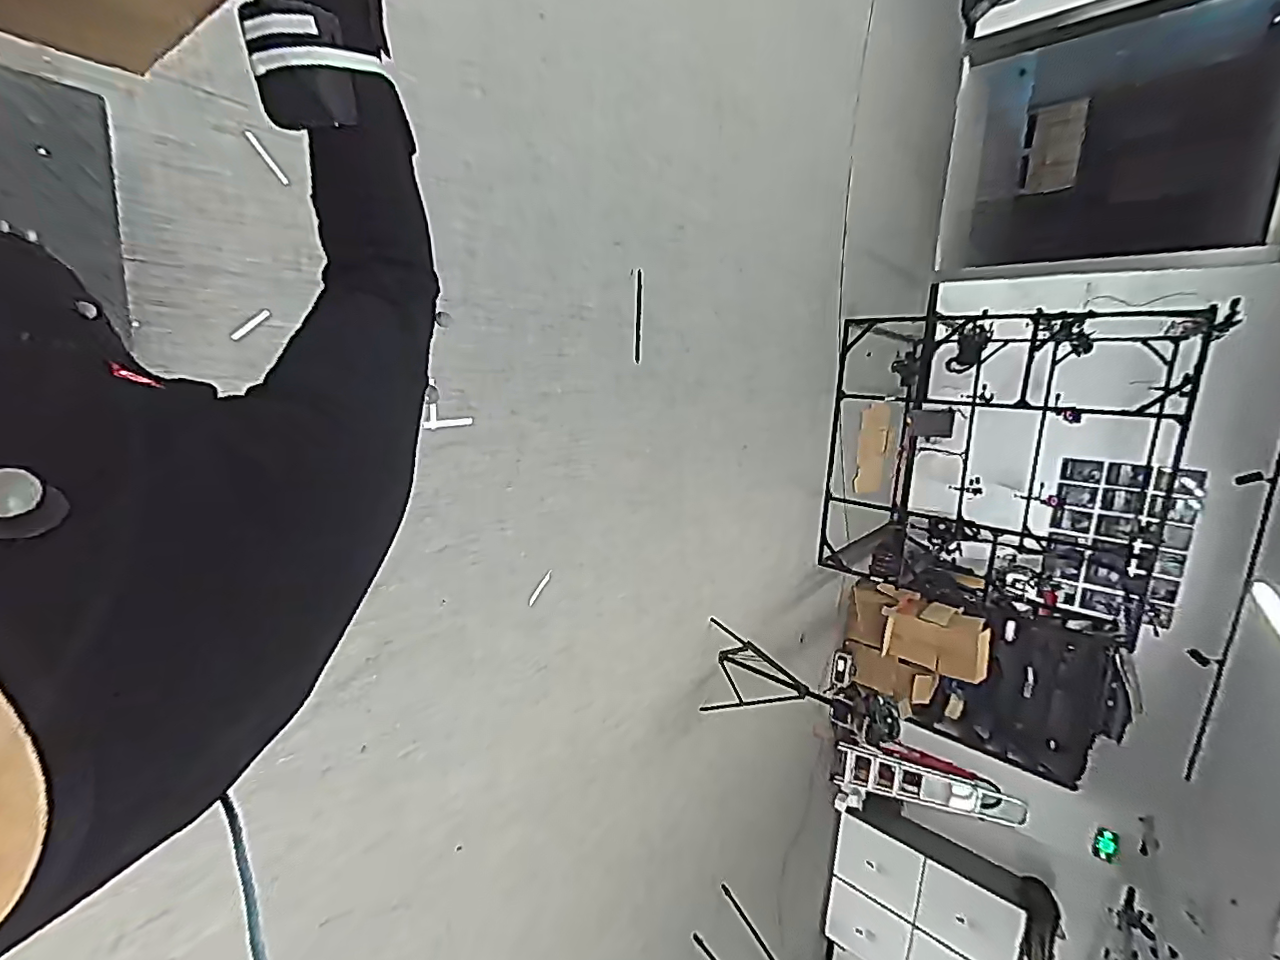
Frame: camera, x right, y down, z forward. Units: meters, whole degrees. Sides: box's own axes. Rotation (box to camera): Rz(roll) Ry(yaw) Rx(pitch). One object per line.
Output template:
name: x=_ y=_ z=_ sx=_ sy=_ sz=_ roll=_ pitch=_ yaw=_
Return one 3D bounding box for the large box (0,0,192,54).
large box: x=-0.458 y=-0.463 z=0.218 sx=0.408 sy=0.320 sz=0.320 roll=-13 pitch=116 yaw=-50
